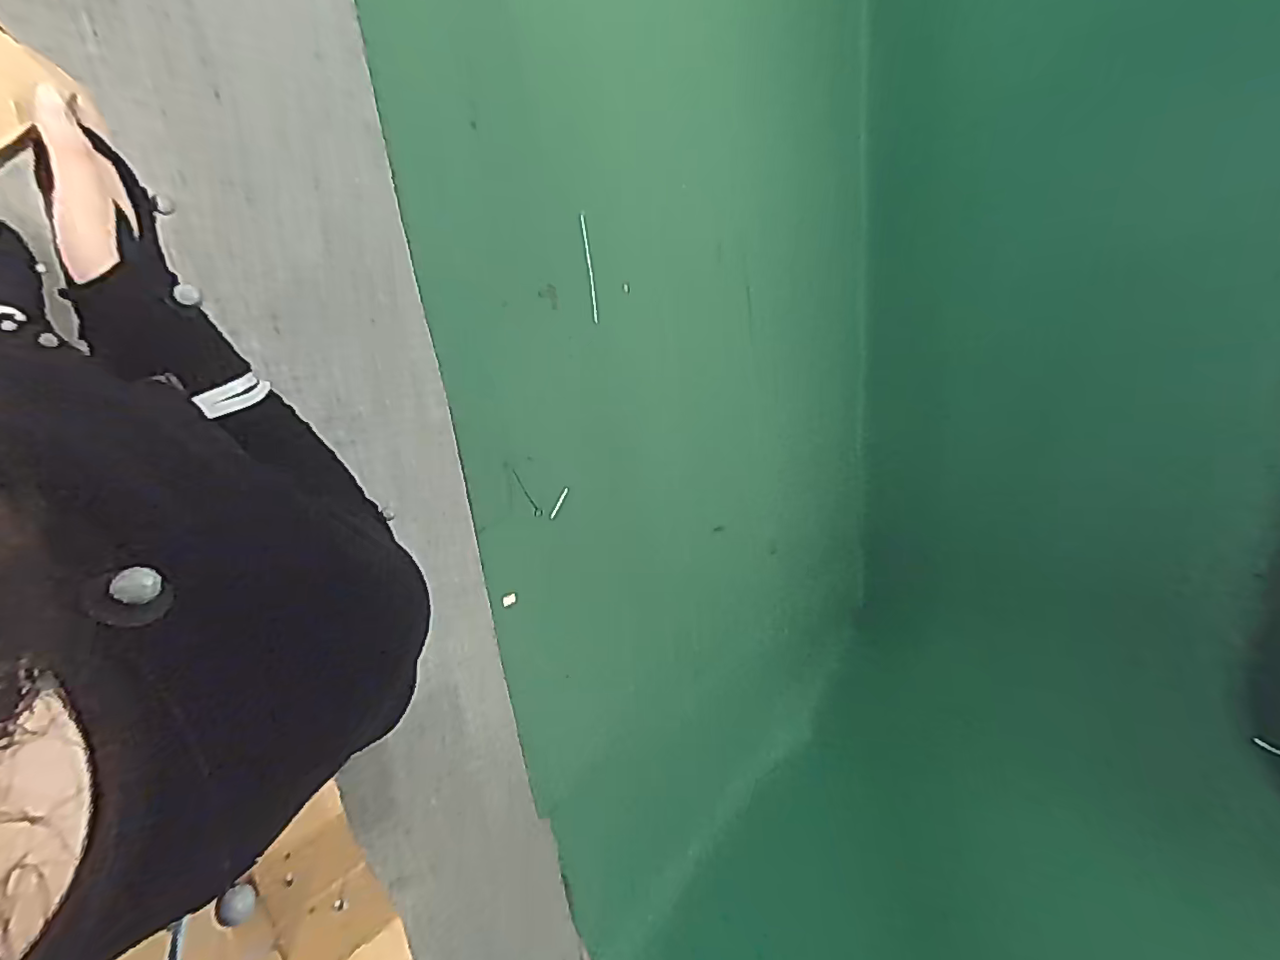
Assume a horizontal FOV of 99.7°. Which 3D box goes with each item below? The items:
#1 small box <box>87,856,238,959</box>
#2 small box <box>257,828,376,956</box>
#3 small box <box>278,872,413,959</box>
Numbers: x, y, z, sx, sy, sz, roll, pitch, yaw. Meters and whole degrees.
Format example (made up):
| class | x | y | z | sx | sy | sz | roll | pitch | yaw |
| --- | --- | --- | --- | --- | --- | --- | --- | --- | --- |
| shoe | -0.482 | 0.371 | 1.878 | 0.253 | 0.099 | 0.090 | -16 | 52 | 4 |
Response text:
| class | x | y | z | sx | sy | sz | roll | pitch | yaw |
| --- | --- | --- | --- | --- | --- | --- | --- | --- | --- |
| small box | -0.804 | 0.801 | 0.919 | 0.168 | 0.176 | 0.179 | -16 | 110 | -44 |
| small box | -0.649 | 0.855 | 1.101 | 0.168 | 0.176 | 0.179 | -19 | 112 | -44 |
| small box | -0.533 | 0.880 | 0.989 | 0.168 | 0.176 | 0.179 | -19 | 109 | -44 |
